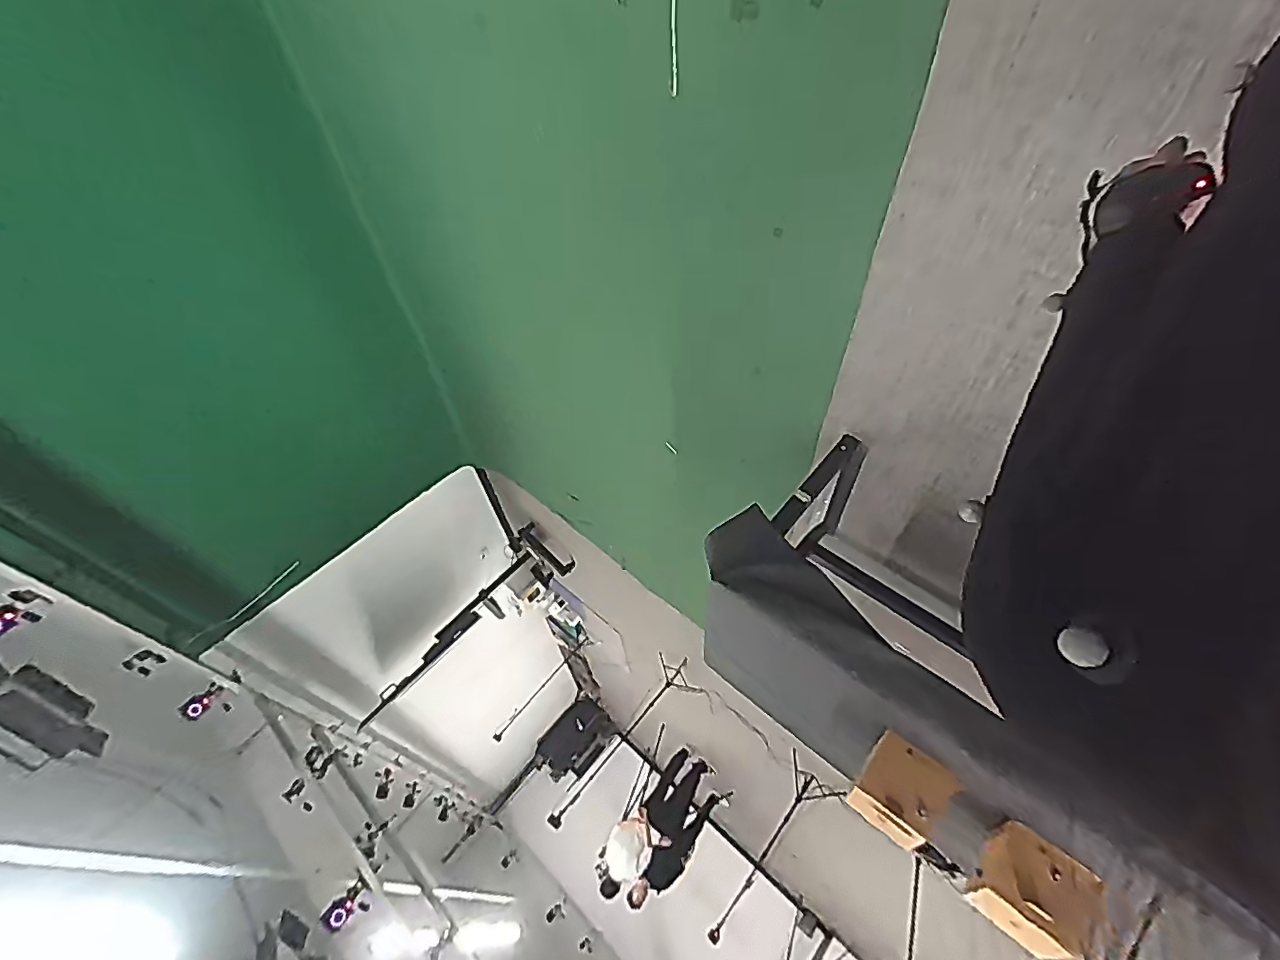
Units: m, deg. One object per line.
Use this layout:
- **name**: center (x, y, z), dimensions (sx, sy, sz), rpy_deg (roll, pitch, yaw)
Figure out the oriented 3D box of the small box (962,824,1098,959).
- **small box**: center (0.838, 0.886, 1.165), dimensions (0.168, 0.176, 0.179), rpy_deg (31, 149, 32)
